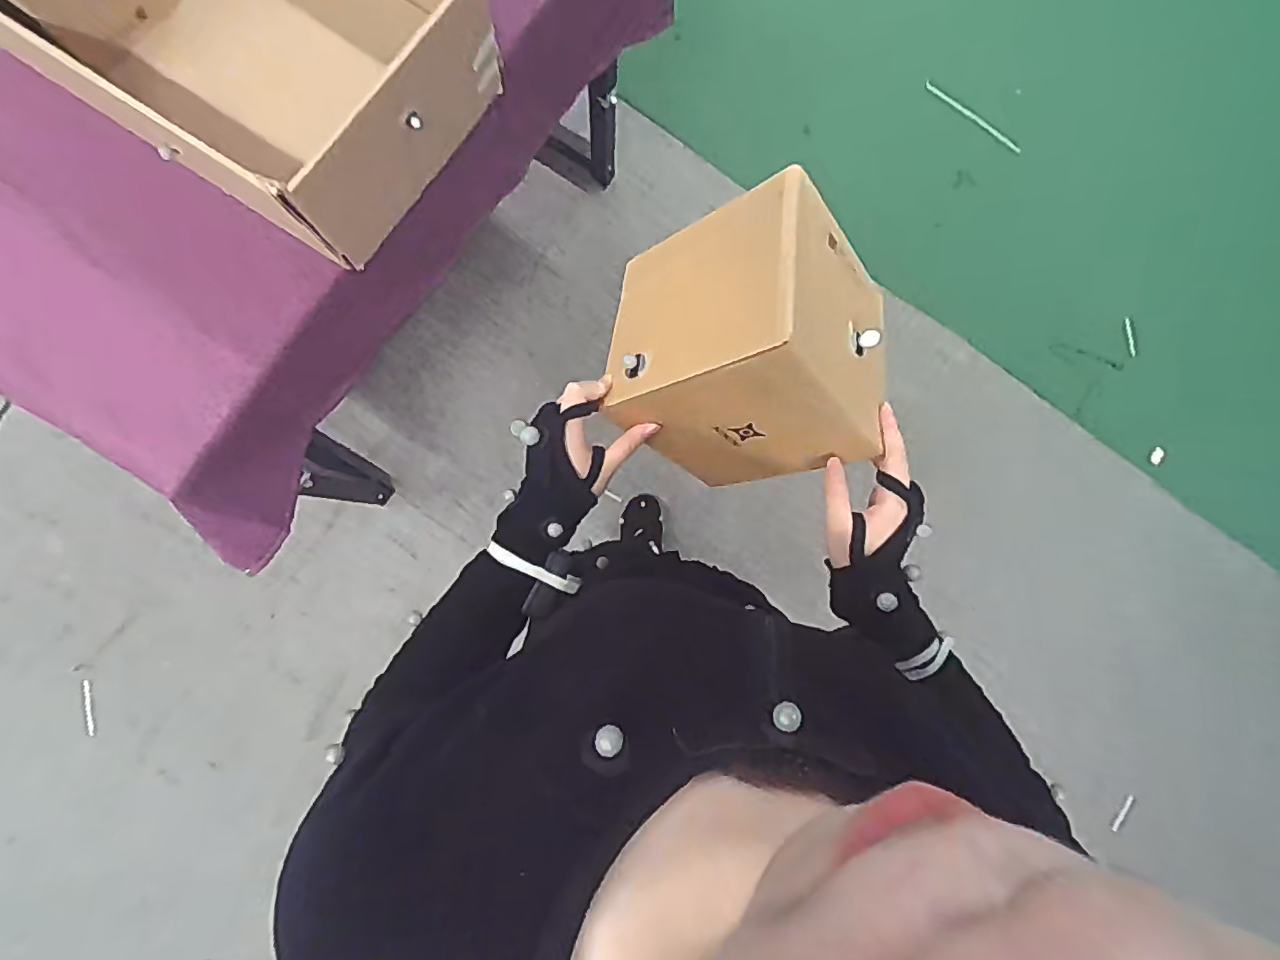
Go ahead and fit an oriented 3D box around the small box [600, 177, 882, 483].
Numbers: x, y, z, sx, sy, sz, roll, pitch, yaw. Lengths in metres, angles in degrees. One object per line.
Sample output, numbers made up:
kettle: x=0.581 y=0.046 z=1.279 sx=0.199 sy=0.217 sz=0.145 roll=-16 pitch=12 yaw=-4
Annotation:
small box: x=0.093 y=-0.117 z=0.476 sx=0.168 sy=0.179 sz=0.176 roll=32 pitch=59 yaw=-37
